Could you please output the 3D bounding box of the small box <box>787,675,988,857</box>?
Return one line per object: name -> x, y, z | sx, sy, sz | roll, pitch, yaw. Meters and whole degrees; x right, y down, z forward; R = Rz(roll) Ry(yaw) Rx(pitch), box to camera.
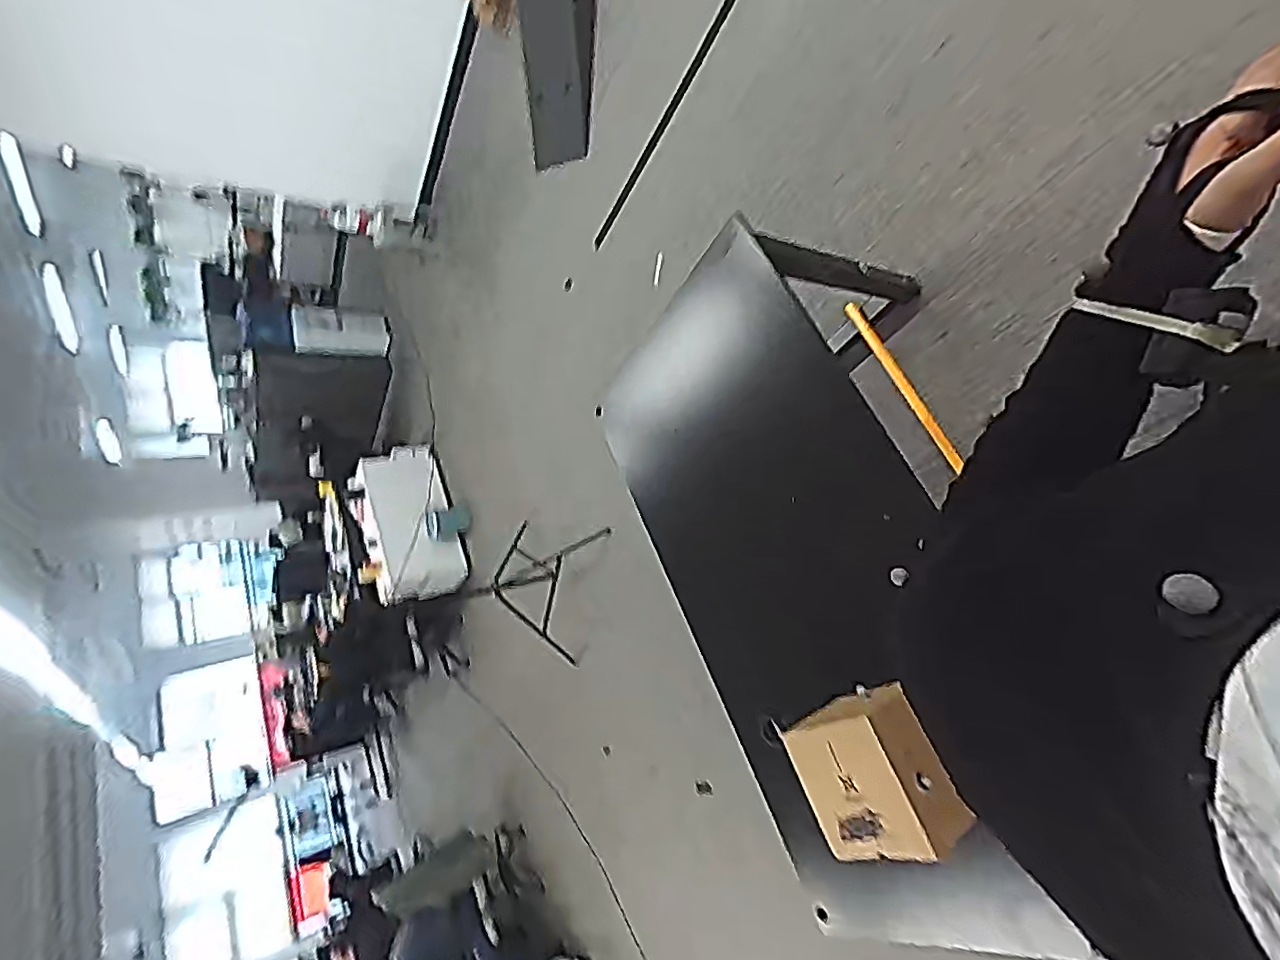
small box -> 0.357, 0.409, 0.784 | 0.168, 0.176, 0.179 | -45, 61, 45
